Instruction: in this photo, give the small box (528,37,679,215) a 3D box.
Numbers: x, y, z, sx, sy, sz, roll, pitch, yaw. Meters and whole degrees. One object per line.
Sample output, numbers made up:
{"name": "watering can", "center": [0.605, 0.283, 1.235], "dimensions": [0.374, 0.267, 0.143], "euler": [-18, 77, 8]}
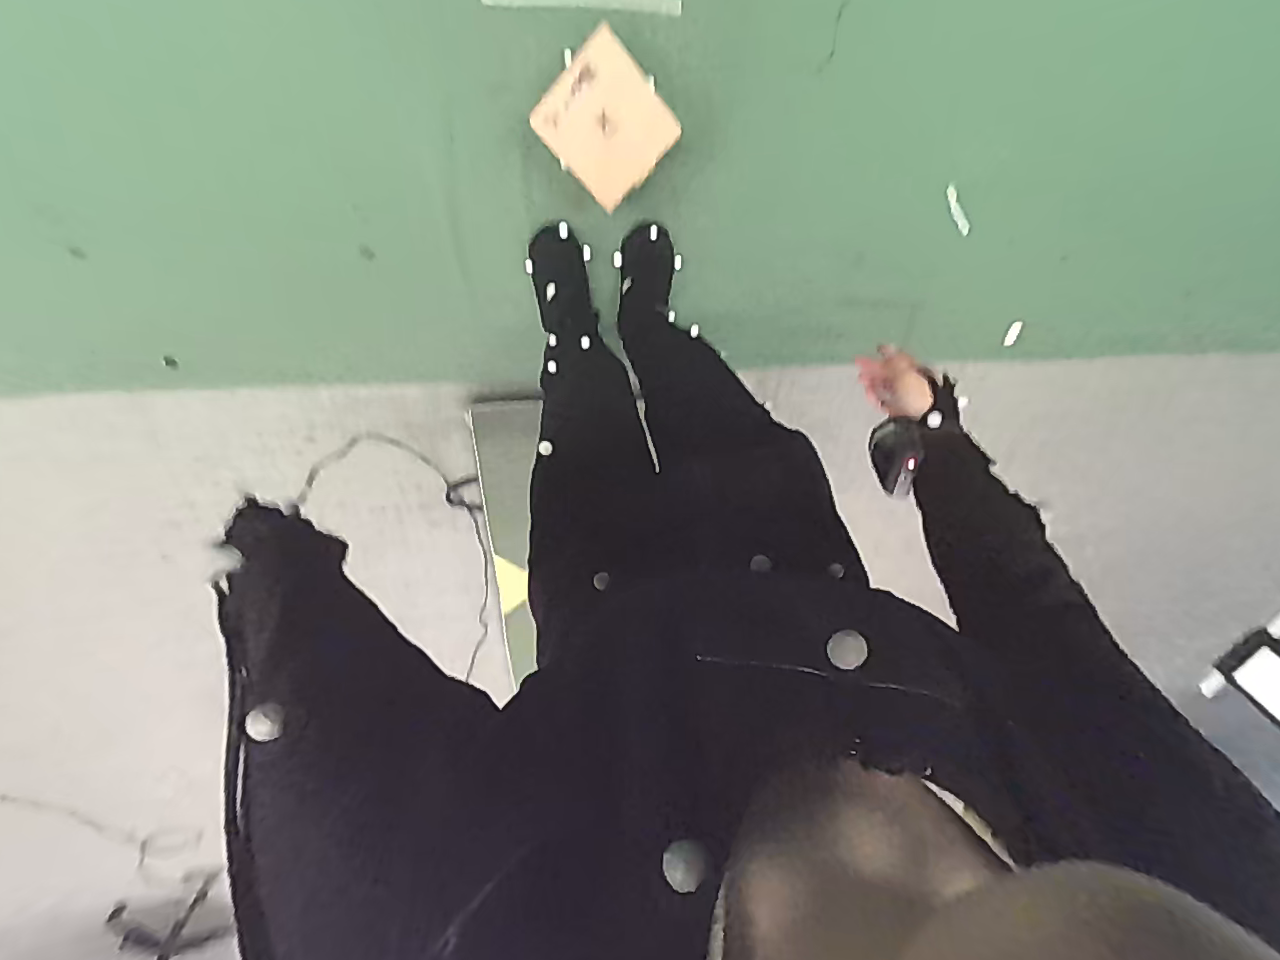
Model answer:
{"name": "small box", "center": [-0.063, -0.579, 0.888], "dimensions": [0.168, 0.176, 0.179], "euler": [-40, 123, 19]}
